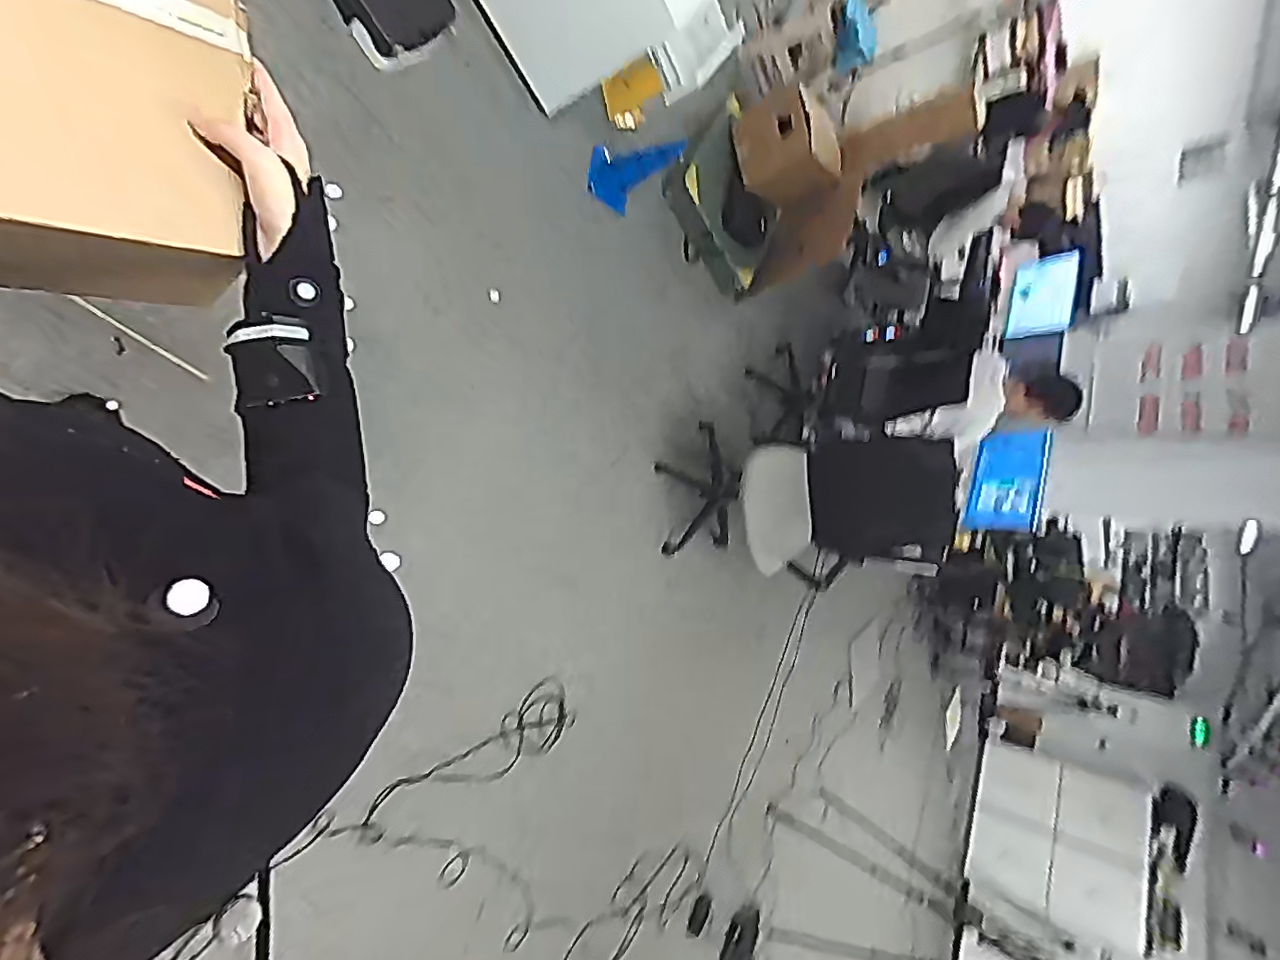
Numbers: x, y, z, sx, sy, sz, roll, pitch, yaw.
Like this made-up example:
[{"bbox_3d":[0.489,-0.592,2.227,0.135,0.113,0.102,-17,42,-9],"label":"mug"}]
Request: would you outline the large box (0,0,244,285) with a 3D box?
[{"bbox_3d":[-0.564,-0.336,0.384,0.408,0.320,0.320,-8,102,-43],"label":"large box"}]
